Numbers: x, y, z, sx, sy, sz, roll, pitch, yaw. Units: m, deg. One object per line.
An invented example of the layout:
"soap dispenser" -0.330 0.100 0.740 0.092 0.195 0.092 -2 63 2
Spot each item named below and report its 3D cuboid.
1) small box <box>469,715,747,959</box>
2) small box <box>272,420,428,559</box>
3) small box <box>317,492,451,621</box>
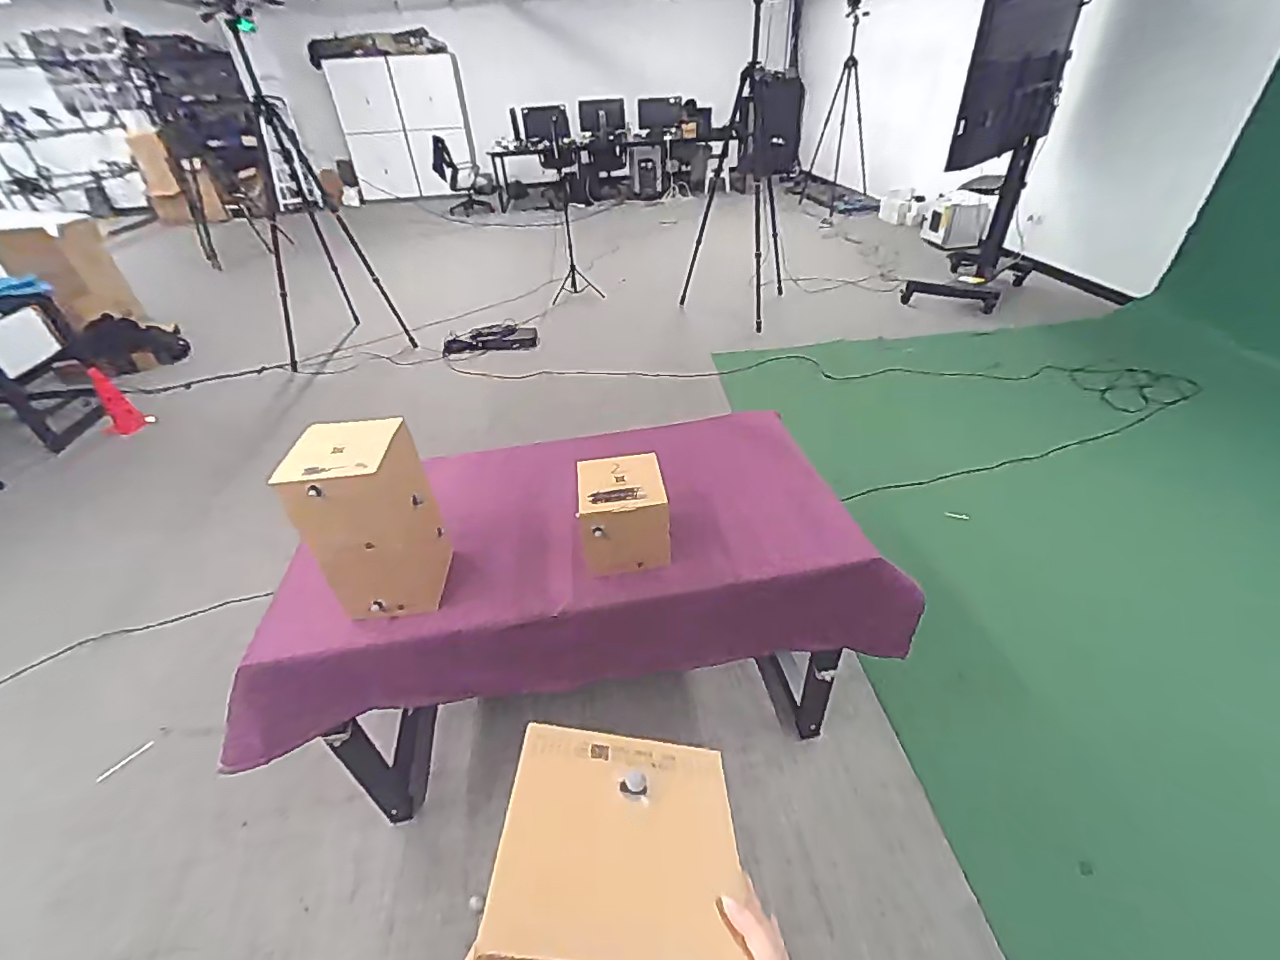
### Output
"small box" -0.031 0.317 0.411 0.168 0.179 0.176 11 18 -5
"small box" -0.489 0.015 0.948 0.168 0.176 0.179 -7 36 -1
"small box" -0.479 0.147 1.047 0.168 0.176 0.179 -6 38 -1
